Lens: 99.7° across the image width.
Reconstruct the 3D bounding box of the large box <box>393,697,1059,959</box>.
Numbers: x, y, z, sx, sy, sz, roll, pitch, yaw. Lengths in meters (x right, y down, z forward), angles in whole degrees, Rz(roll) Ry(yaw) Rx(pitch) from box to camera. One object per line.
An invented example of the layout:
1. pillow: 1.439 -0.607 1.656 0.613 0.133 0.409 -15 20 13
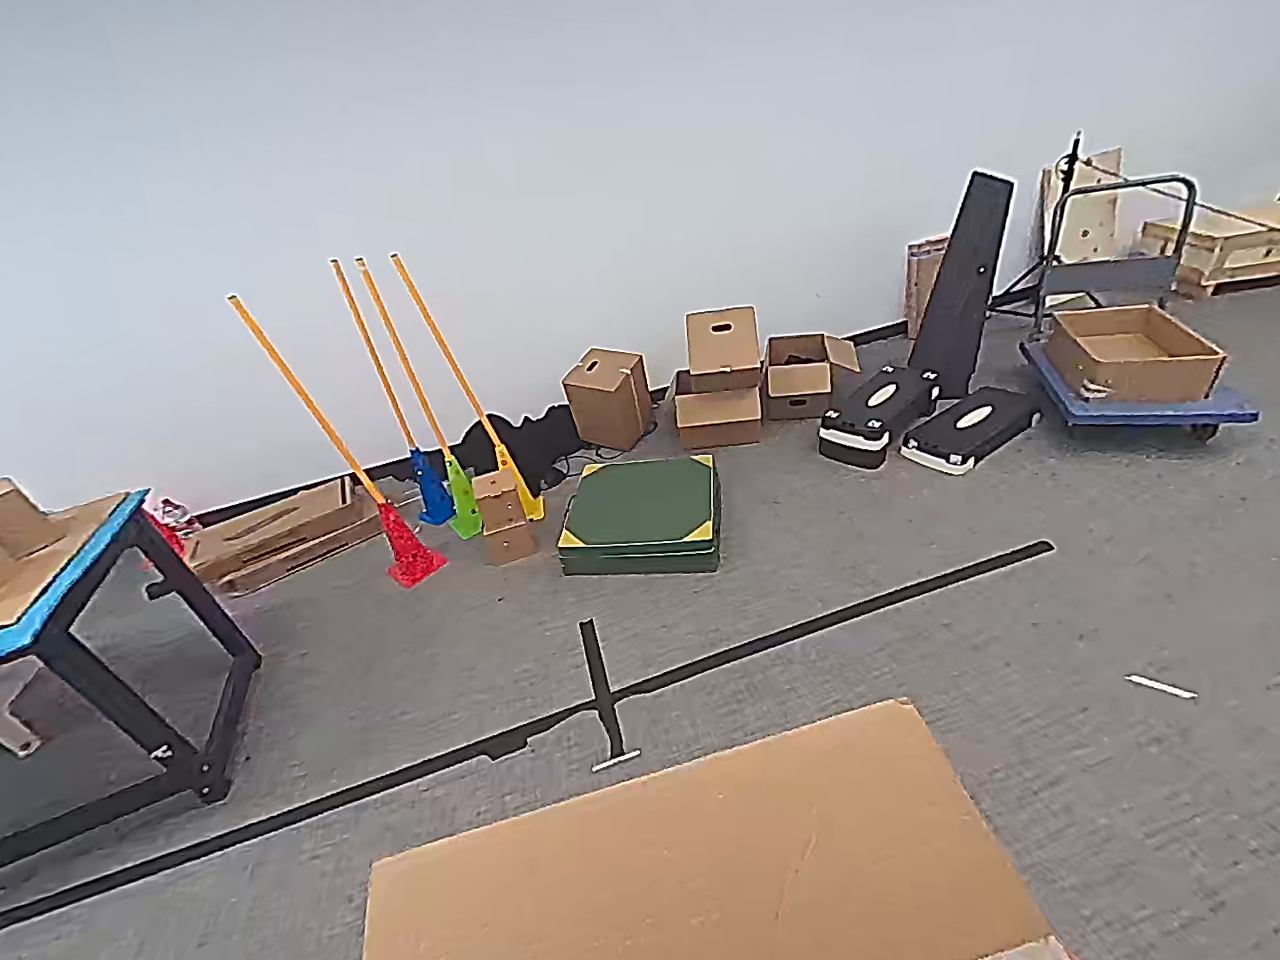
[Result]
1. large box: 0.070 0.428 0.407 0.408 0.320 0.320 -16 47 -4
